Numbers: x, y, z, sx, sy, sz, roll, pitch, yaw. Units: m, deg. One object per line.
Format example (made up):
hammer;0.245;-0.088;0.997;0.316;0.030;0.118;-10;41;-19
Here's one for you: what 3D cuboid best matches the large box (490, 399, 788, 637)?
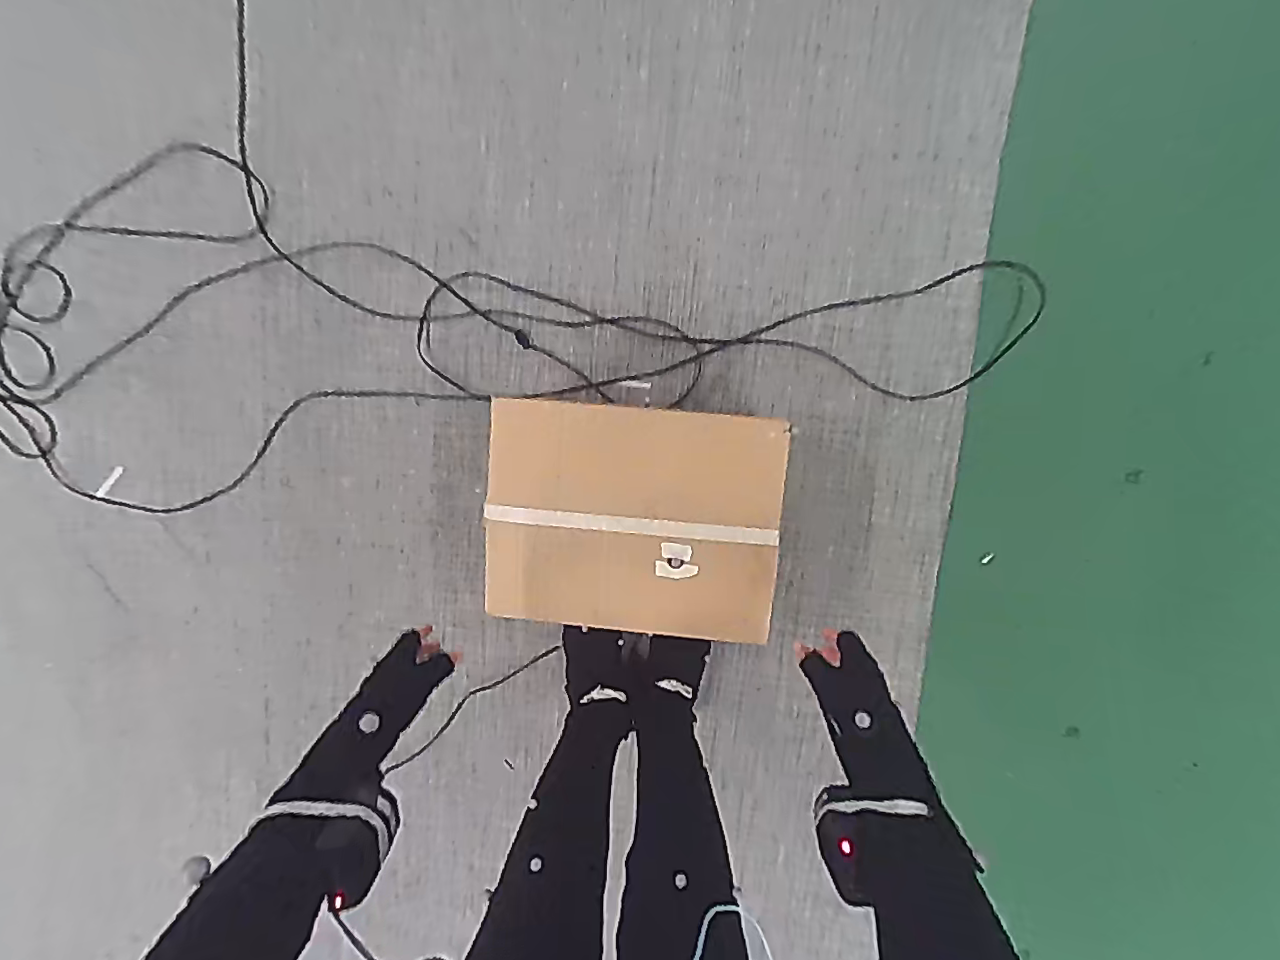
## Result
large box;-0.002;0.037;0.891;0.408;0.320;0.320;5;99;3
